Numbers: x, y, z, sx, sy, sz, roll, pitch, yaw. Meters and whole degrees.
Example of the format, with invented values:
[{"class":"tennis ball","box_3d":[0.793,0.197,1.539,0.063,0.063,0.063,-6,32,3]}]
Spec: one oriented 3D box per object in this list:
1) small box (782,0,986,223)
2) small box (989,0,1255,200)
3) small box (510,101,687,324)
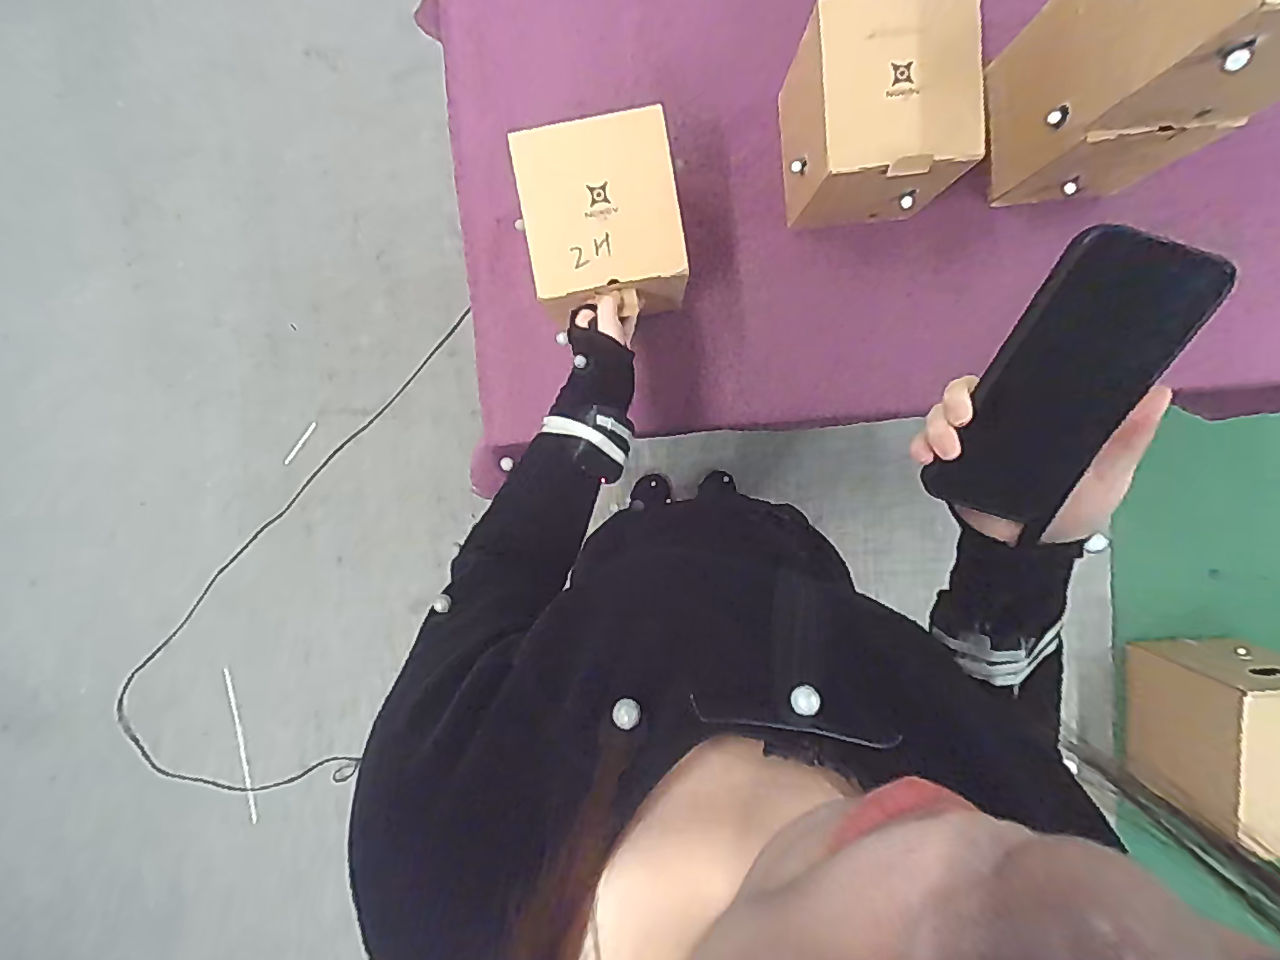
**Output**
[{"class":"small box","box_3d":[0.271,-0.419,0.633,0.168,0.176,0.179,-5,95,1]},{"class":"small box","box_3d":[0.534,-0.453,0.624,0.168,0.176,0.179,-5,96,2]},{"class":"small box","box_3d":[-0.042,-0.303,0.648,0.168,0.176,0.179,-10,95,2]}]
